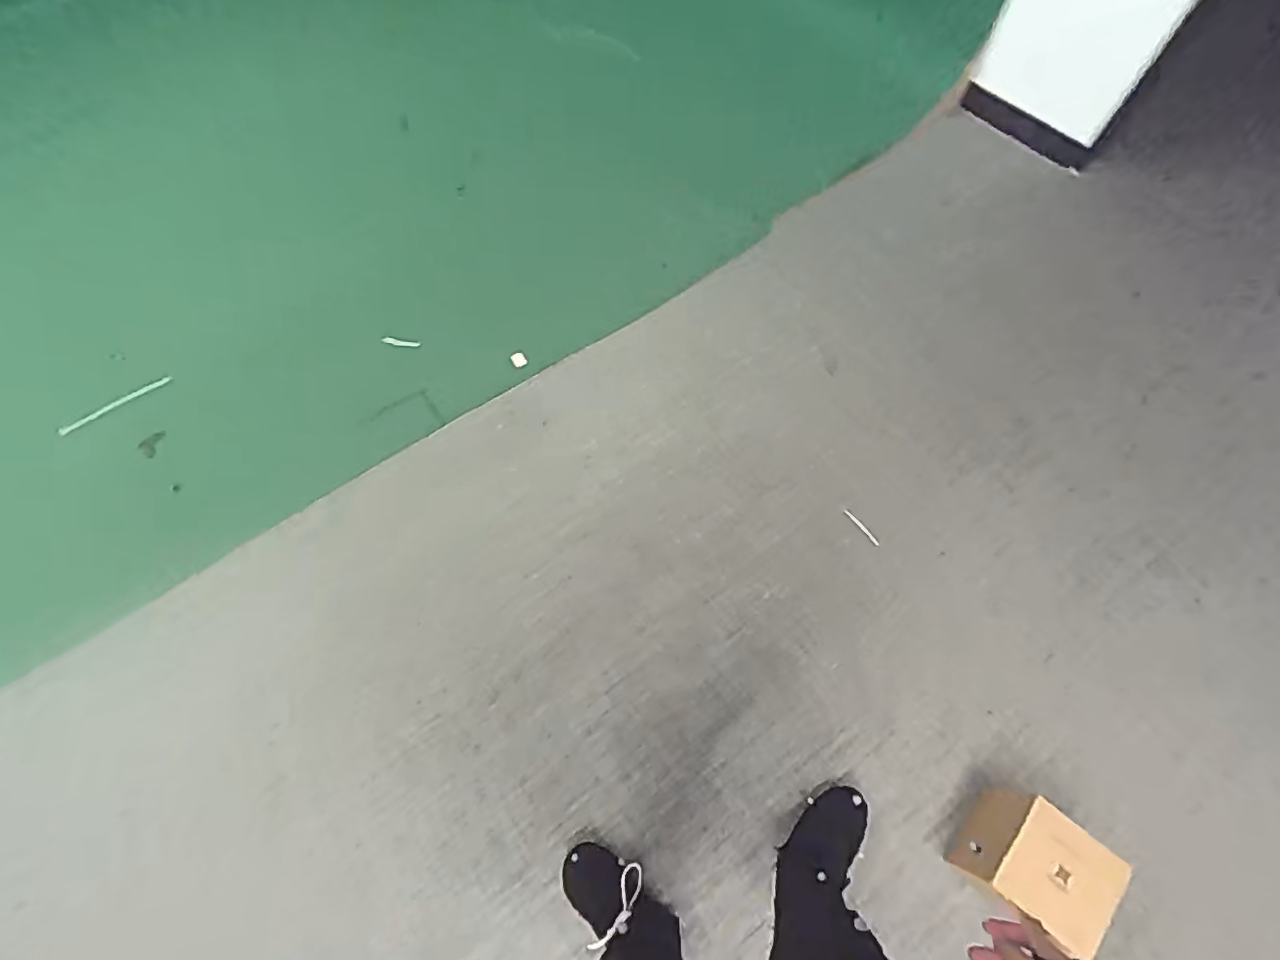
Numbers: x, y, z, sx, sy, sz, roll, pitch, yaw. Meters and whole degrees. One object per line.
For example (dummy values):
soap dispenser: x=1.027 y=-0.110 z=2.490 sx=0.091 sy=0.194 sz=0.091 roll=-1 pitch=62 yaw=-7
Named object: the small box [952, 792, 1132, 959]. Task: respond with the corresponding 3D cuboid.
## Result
small box: x=0.693 y=0.691 z=0.957 sx=0.168 sy=0.176 sz=0.179 roll=39 pitch=72 yaw=17
